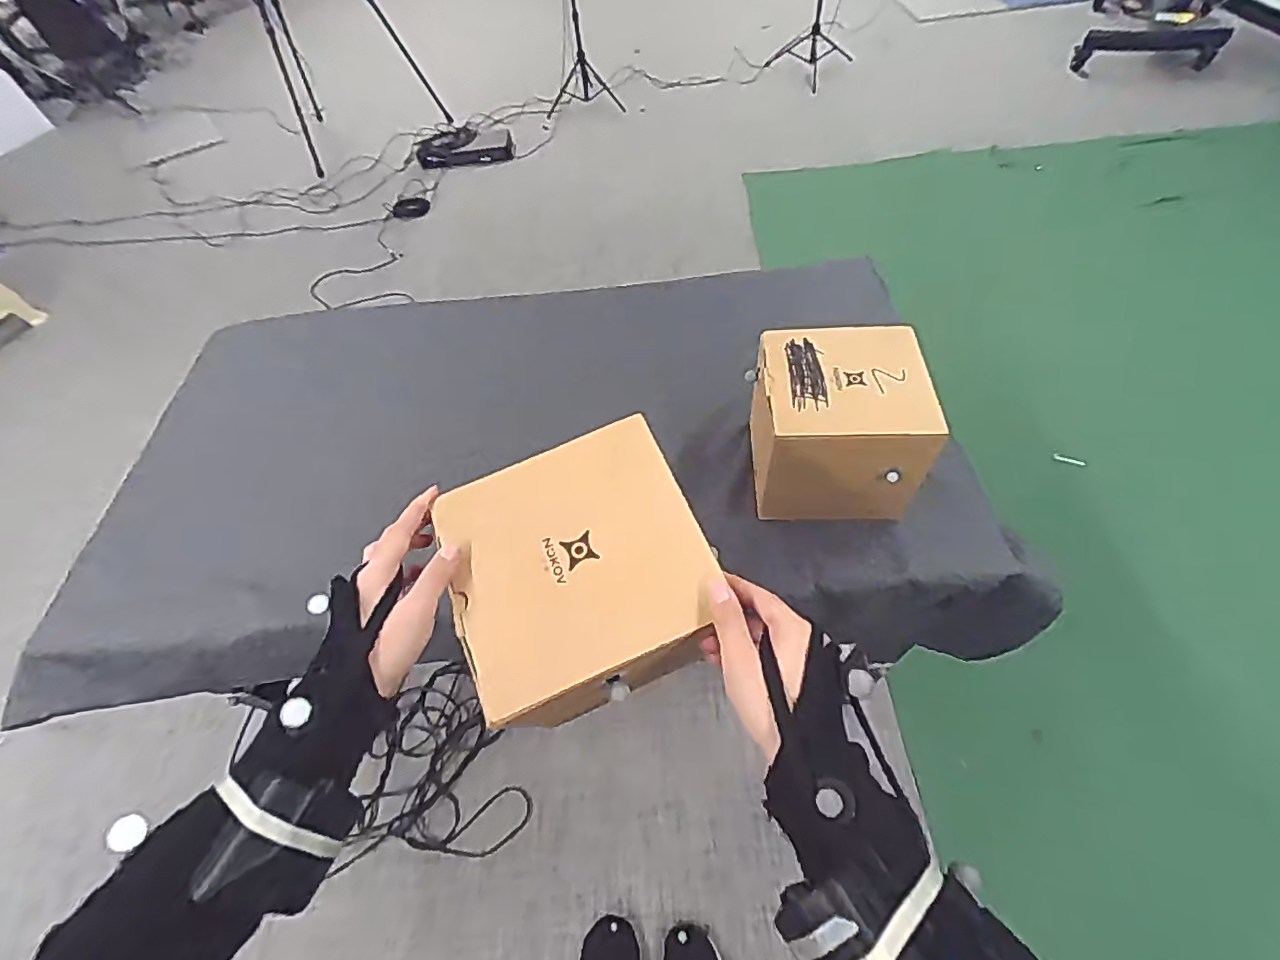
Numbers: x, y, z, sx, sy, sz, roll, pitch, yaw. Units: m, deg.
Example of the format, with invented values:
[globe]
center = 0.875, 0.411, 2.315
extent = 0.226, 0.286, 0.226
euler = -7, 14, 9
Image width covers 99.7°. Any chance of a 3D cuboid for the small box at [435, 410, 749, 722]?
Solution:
[small box]
center = -0.032, 0.078, 0.440
extent = 0.179, 0.176, 0.168
euler = -24, 65, -5
